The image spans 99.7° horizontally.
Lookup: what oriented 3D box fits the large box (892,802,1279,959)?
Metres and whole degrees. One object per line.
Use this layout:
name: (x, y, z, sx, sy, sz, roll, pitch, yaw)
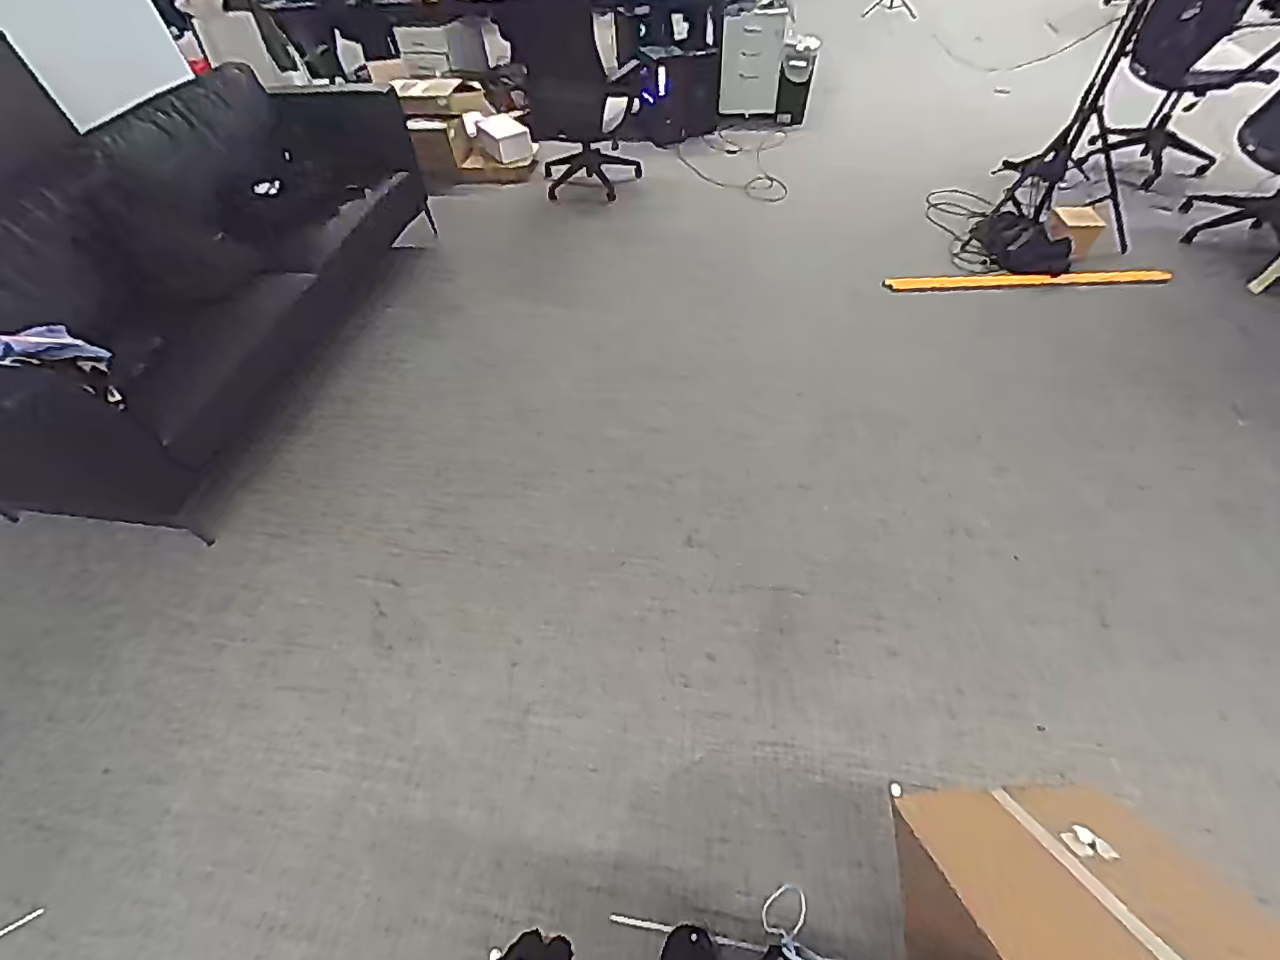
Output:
large box: (0.558, 0.668, 0.653, 0.320, 0.408, 0.320, -5, 89, 3)
